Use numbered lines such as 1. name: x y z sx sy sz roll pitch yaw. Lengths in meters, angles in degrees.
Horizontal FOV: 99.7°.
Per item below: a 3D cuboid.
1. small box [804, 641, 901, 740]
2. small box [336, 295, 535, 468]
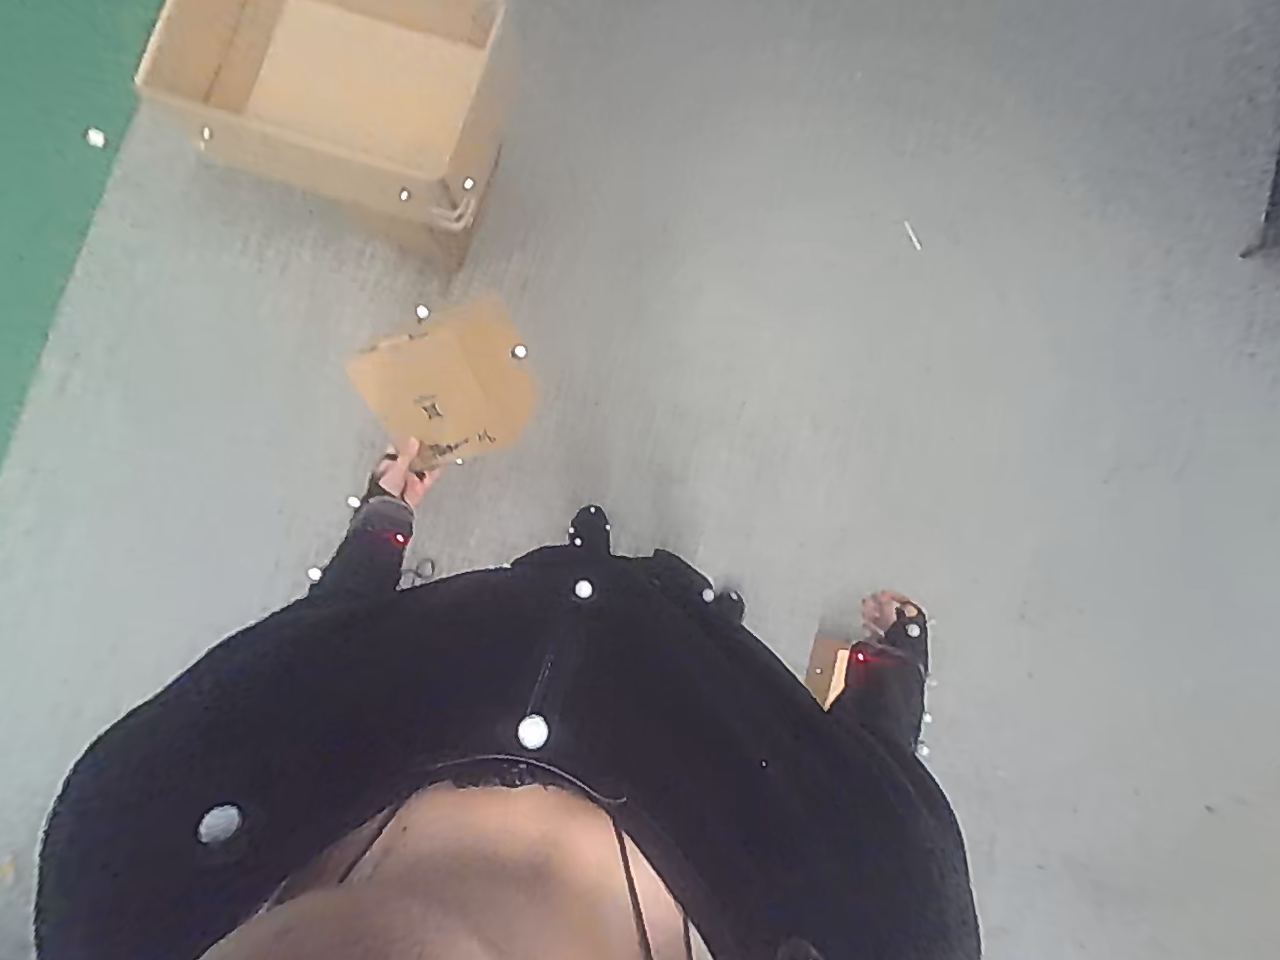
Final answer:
1. small box: 0.543 0.540 1.408 0.168 0.176 0.179 16 84 -1
2. small box: -0.270 -0.145 0.758 0.168 0.176 0.179 -11 122 15
